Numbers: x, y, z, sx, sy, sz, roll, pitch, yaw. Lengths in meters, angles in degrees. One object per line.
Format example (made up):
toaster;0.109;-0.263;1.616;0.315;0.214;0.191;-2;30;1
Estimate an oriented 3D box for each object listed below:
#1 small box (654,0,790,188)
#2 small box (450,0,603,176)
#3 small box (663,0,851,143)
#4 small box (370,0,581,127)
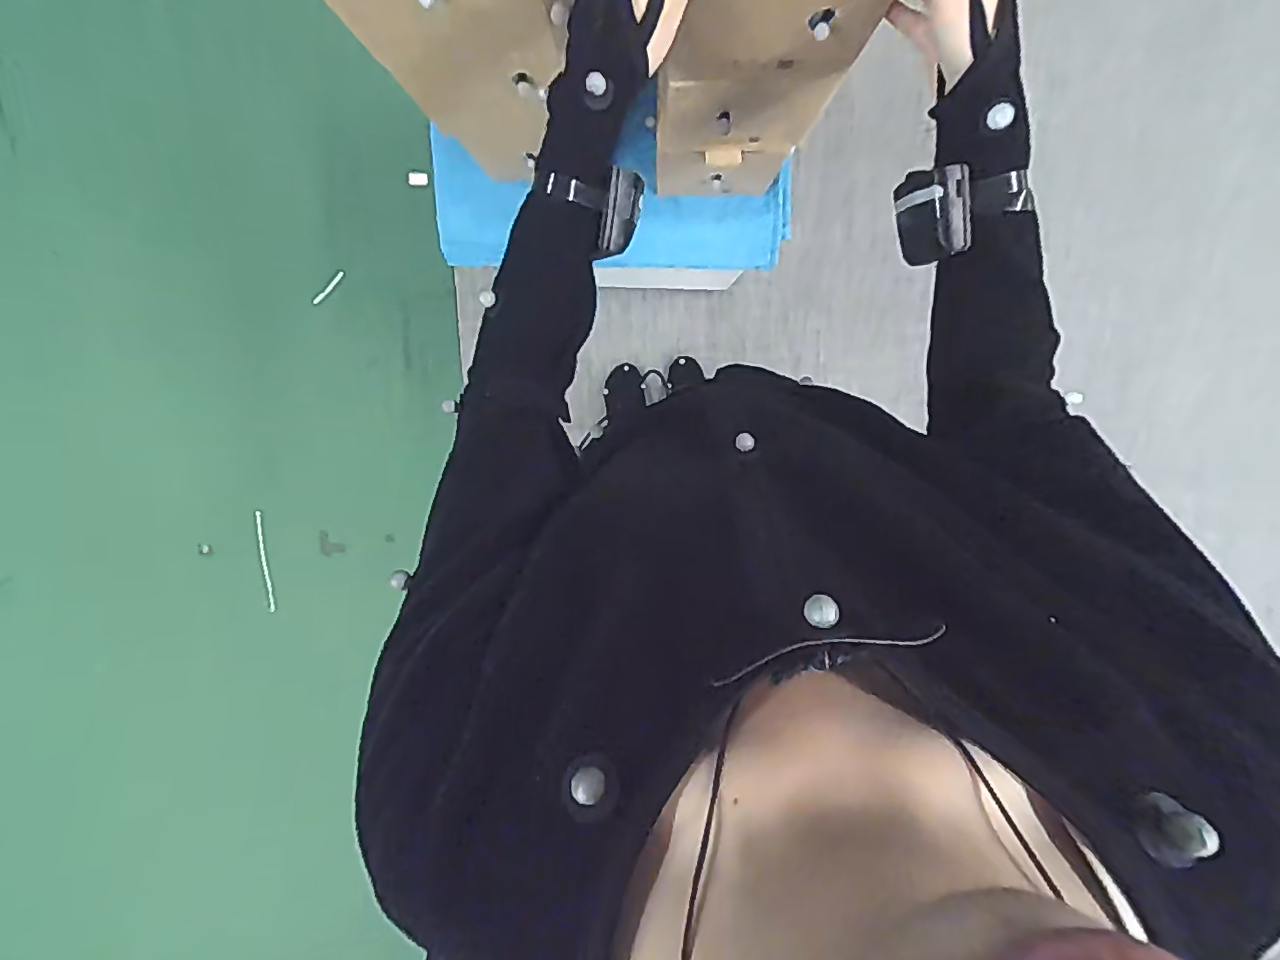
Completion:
small box;0.103;-0.498;0.709;0.168;0.176;0.179;0;102;1
small box;-0.140;-0.518;0.710;0.179;0.176;0.168;0;101;2
small box;0.107;-0.466;0.551;0.168;0.176;0.179;-2;101;2
small box;-0.153;-0.485;0.549;0.179;0.176;0.168;0;101;1
